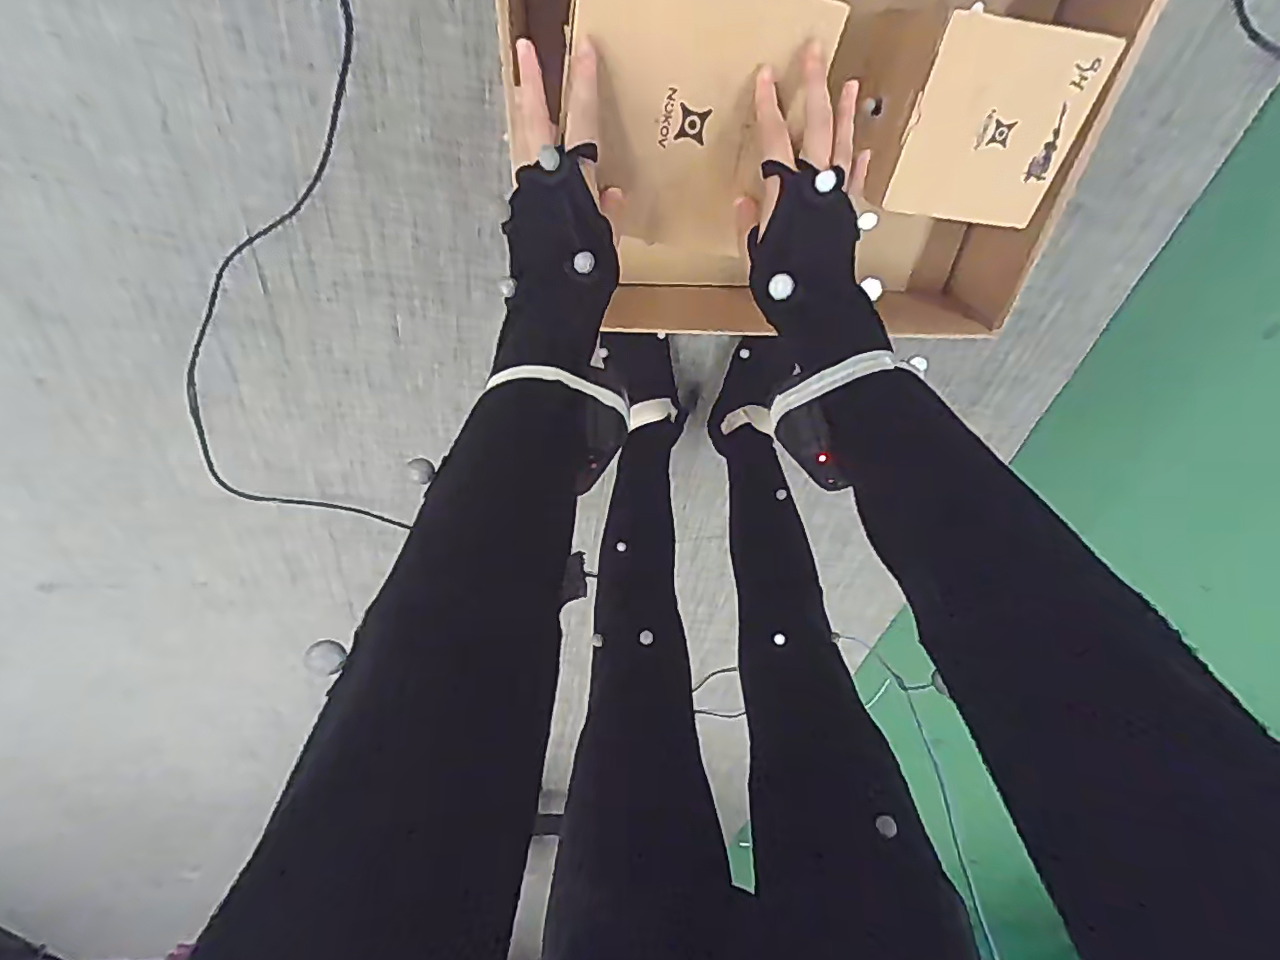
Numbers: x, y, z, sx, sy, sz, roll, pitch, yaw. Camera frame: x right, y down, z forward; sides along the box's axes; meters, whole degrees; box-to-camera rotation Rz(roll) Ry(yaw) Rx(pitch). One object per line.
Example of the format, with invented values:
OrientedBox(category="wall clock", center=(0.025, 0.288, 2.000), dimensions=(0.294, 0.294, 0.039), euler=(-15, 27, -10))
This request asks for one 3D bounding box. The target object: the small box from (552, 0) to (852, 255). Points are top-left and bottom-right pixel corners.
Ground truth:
OrientedBox(category="small box", center=(0.029, -0.309, 0.438), dimensions=(0.179, 0.176, 0.168), euler=(7, 131, -11))

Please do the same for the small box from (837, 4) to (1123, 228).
OrientedBox(category="small box", center=(0.344, -0.397, 0.596), dimensions=(0.179, 0.176, 0.168), euler=(5, 130, -7))
